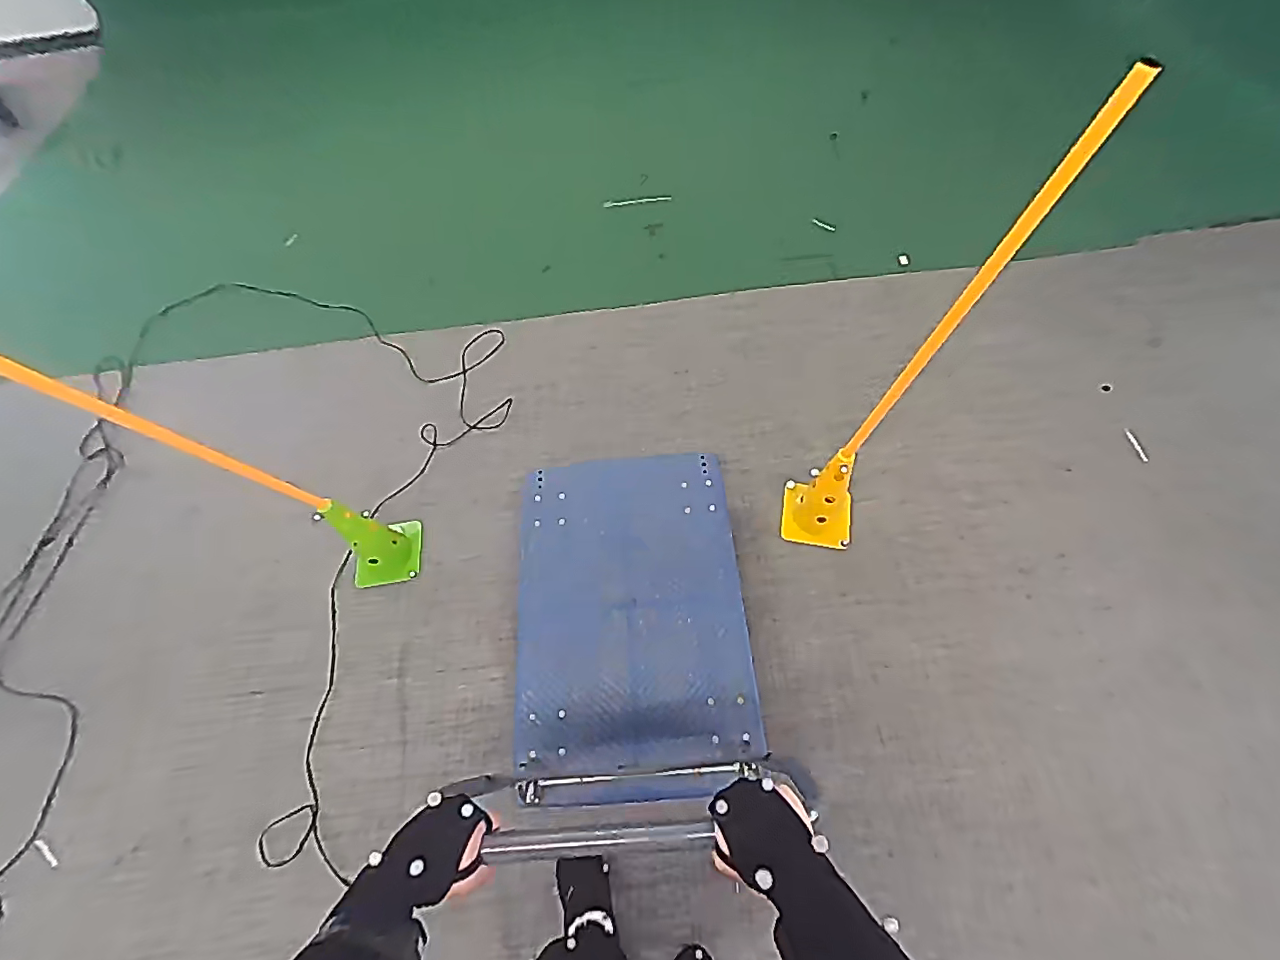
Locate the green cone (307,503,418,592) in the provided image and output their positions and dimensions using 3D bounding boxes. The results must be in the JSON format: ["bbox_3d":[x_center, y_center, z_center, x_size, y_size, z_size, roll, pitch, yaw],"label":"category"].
[{"bbox_3d":[-0.808,0.157,1.530,0.202,0.368,0.200,-11,60,1],"label":"green cone"}]
